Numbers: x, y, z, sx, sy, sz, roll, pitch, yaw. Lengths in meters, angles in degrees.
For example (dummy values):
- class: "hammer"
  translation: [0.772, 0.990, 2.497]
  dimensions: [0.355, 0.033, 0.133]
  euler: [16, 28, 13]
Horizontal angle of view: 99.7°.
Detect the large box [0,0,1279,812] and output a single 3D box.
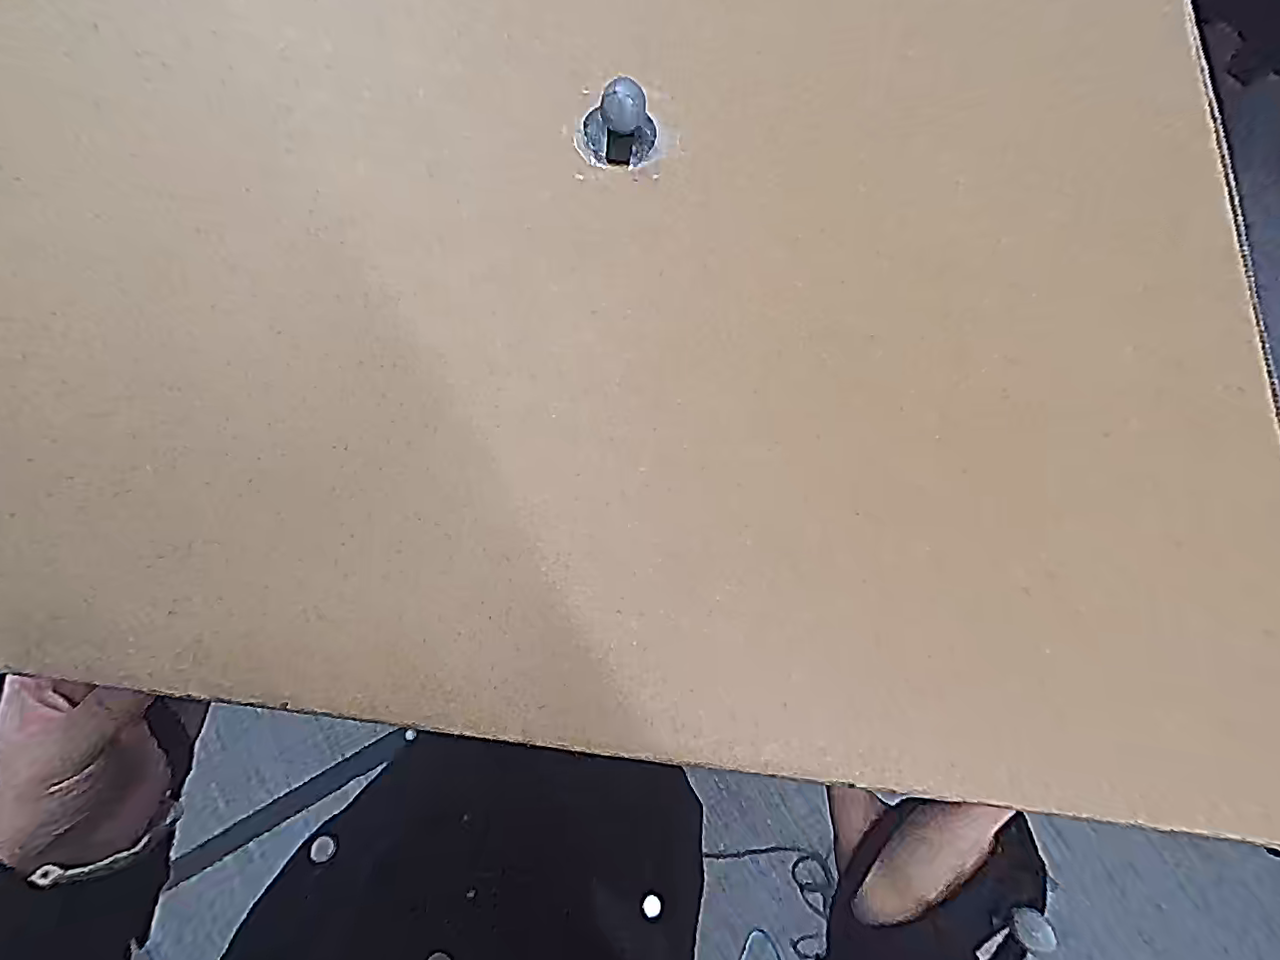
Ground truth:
- class: "large box"
  translation: [-0.038, -0.054, 0.300]
  dimensions: [0.408, 0.320, 0.320]
  euler: [7, 76, -1]
